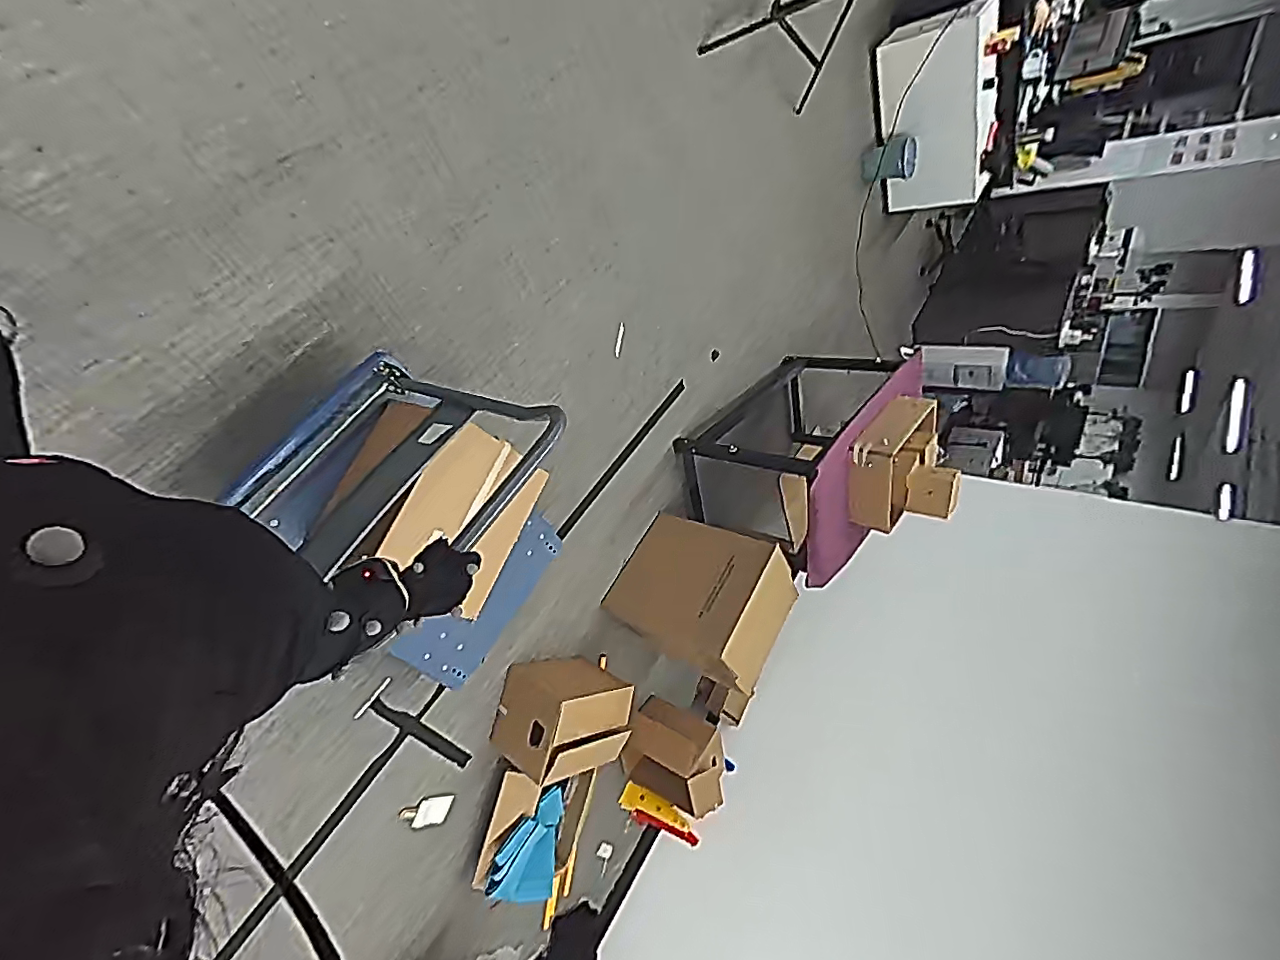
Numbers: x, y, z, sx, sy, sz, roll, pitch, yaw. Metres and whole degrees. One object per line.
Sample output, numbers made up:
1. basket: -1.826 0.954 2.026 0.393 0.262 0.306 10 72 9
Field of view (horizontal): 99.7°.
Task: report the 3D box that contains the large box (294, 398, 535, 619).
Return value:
1. large box: -0.533 0.063 1.305 0.320 0.320 0.408 40 71 -48
